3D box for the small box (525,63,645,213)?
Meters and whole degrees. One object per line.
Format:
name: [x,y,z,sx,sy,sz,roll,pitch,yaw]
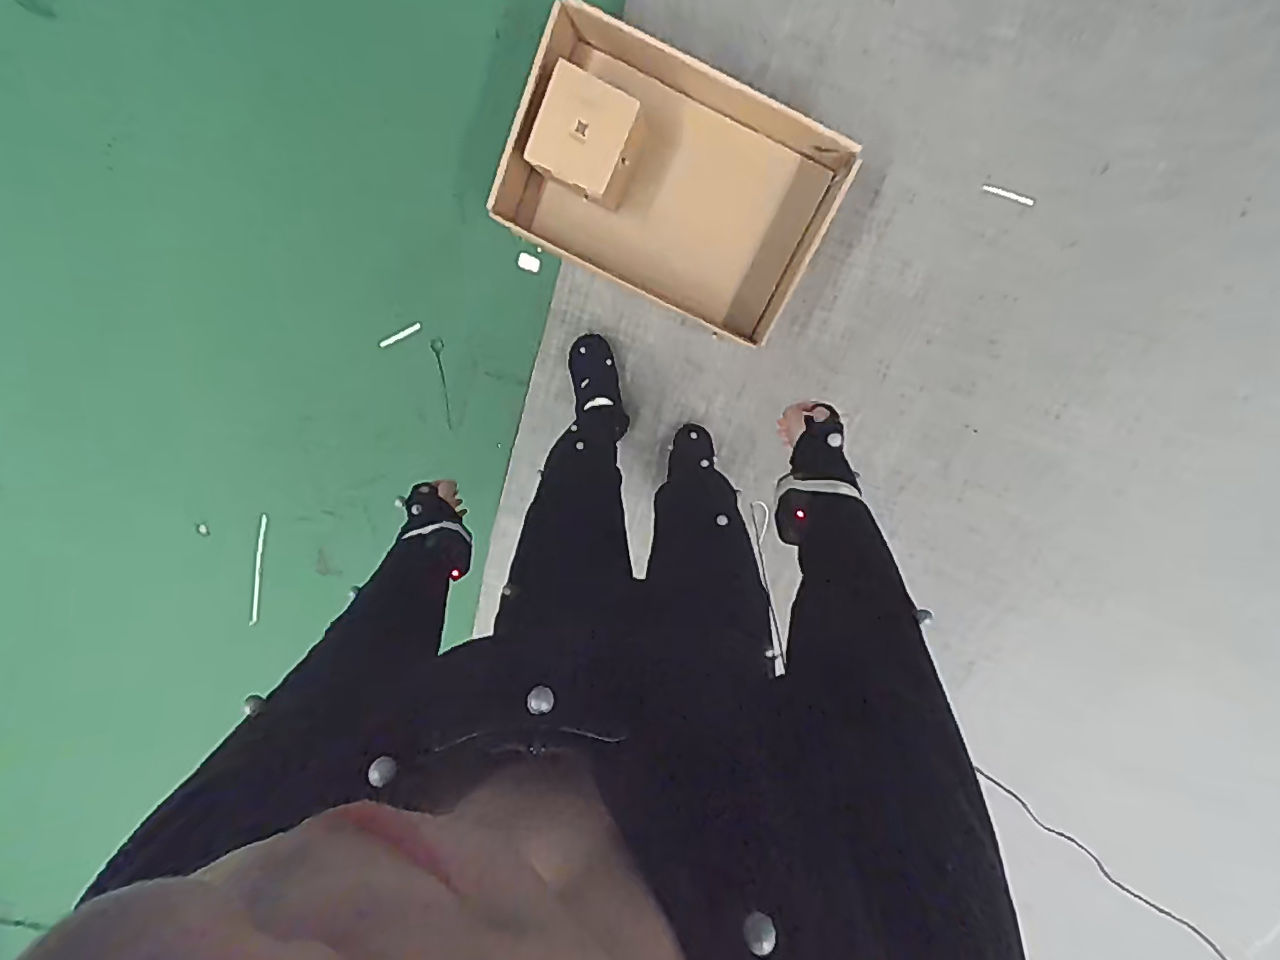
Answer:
small box: [-0.099,-0.652,1.058,0.168,0.176,0.179,27,108,-4]
